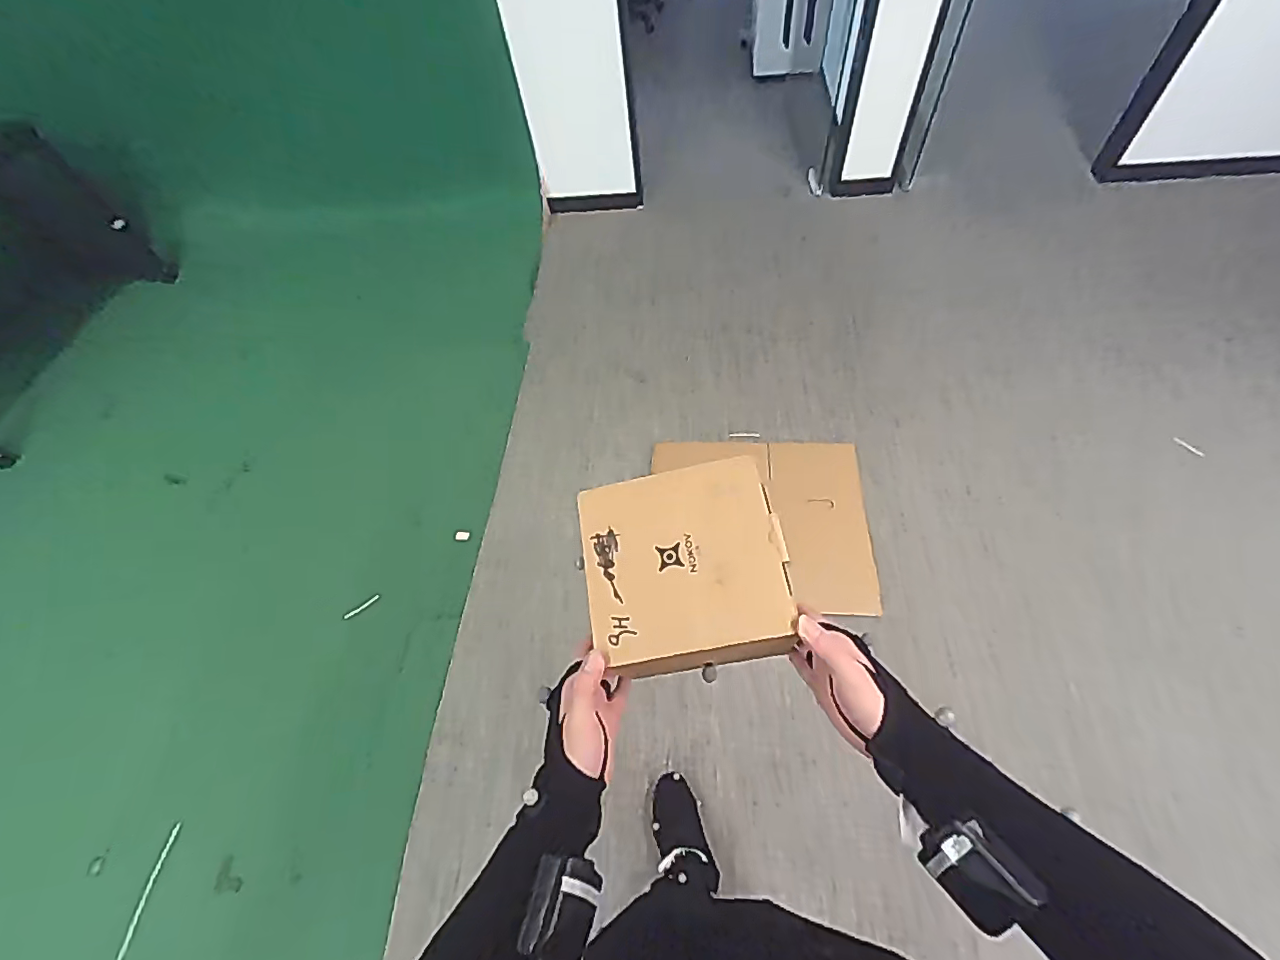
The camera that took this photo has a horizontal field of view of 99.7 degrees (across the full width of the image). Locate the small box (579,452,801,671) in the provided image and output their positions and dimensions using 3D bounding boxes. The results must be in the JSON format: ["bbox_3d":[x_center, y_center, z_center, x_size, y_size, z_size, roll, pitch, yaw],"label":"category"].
[{"bbox_3d":[0.048,0.093,0.552,0.179,0.176,0.168,-12,64,5],"label":"small box"}]
